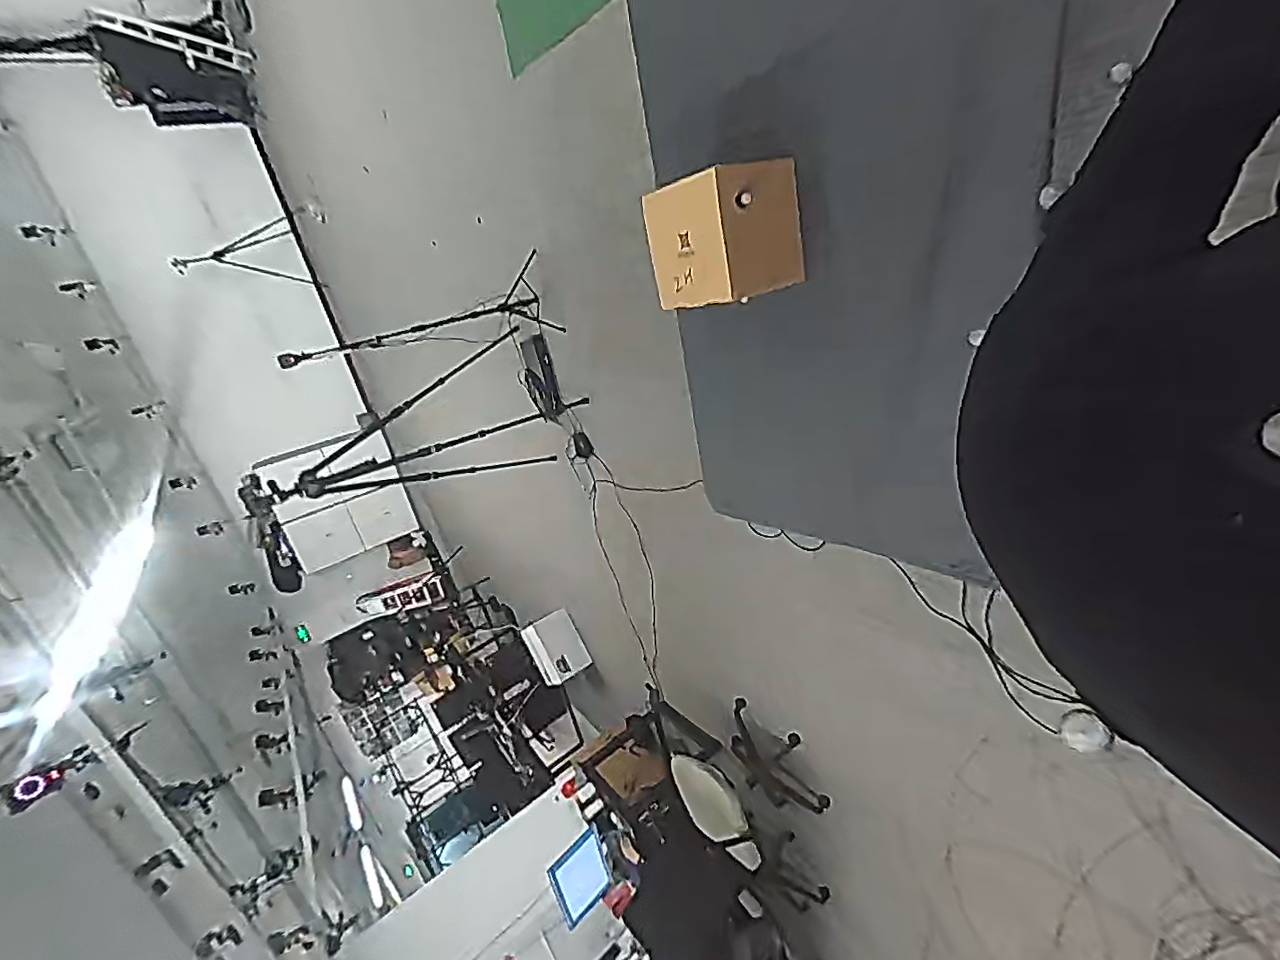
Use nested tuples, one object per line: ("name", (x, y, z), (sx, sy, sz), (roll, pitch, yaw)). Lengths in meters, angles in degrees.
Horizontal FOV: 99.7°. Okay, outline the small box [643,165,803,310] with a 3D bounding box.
("small box", (0.134, -0.379, 0.850), (0.168, 0.176, 0.179), (16, 126, 52))
